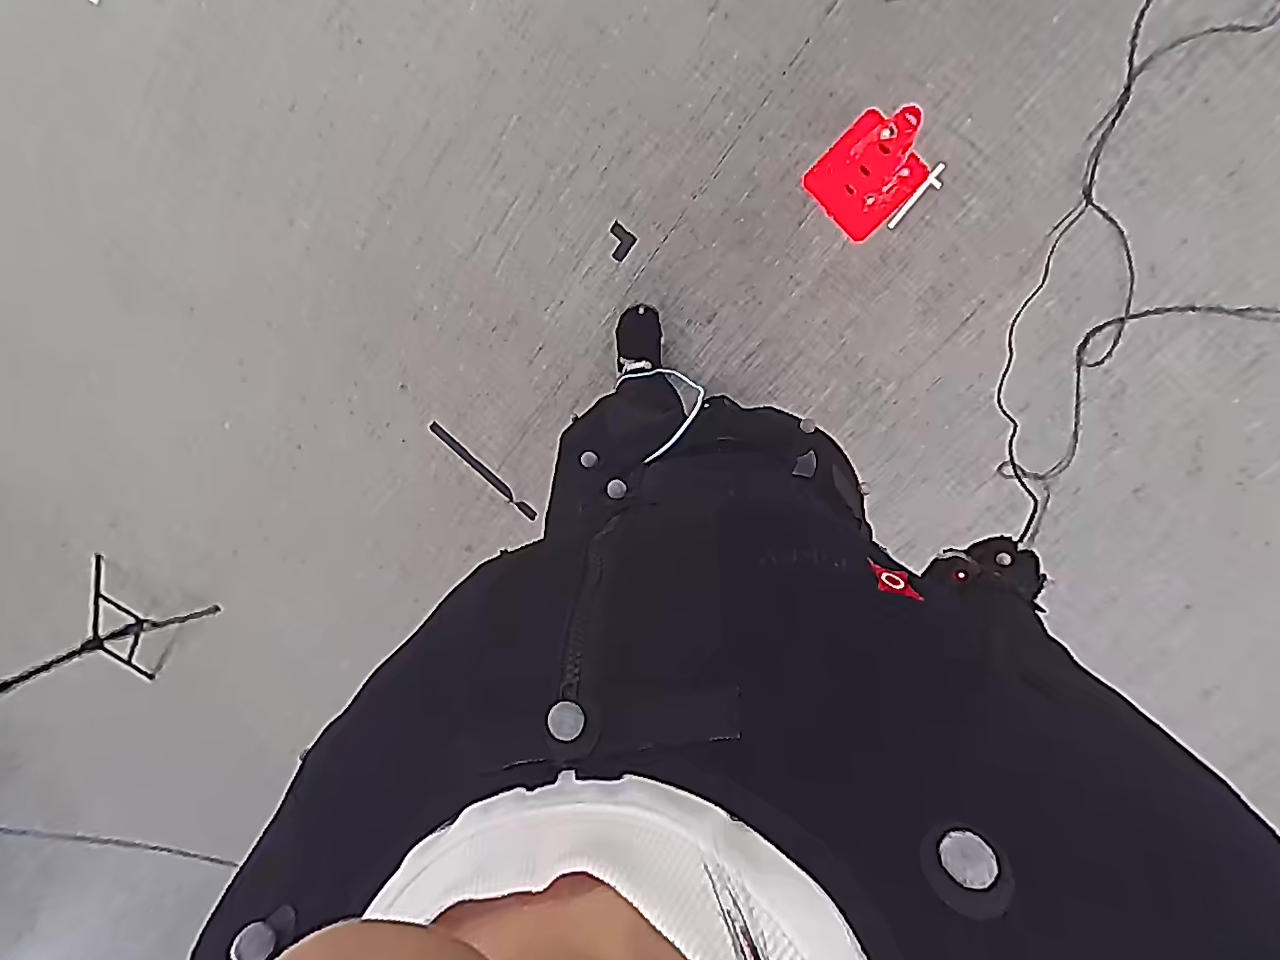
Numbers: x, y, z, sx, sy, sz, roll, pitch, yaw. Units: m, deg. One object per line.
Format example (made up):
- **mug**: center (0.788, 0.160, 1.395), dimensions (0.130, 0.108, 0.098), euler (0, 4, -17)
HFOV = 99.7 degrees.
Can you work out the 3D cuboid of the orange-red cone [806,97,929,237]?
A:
- **orange-red cone**: center (0.456, -0.622, 1.011), dimensions (0.198, 0.360, 0.199), euler (-41, 93, 18)
